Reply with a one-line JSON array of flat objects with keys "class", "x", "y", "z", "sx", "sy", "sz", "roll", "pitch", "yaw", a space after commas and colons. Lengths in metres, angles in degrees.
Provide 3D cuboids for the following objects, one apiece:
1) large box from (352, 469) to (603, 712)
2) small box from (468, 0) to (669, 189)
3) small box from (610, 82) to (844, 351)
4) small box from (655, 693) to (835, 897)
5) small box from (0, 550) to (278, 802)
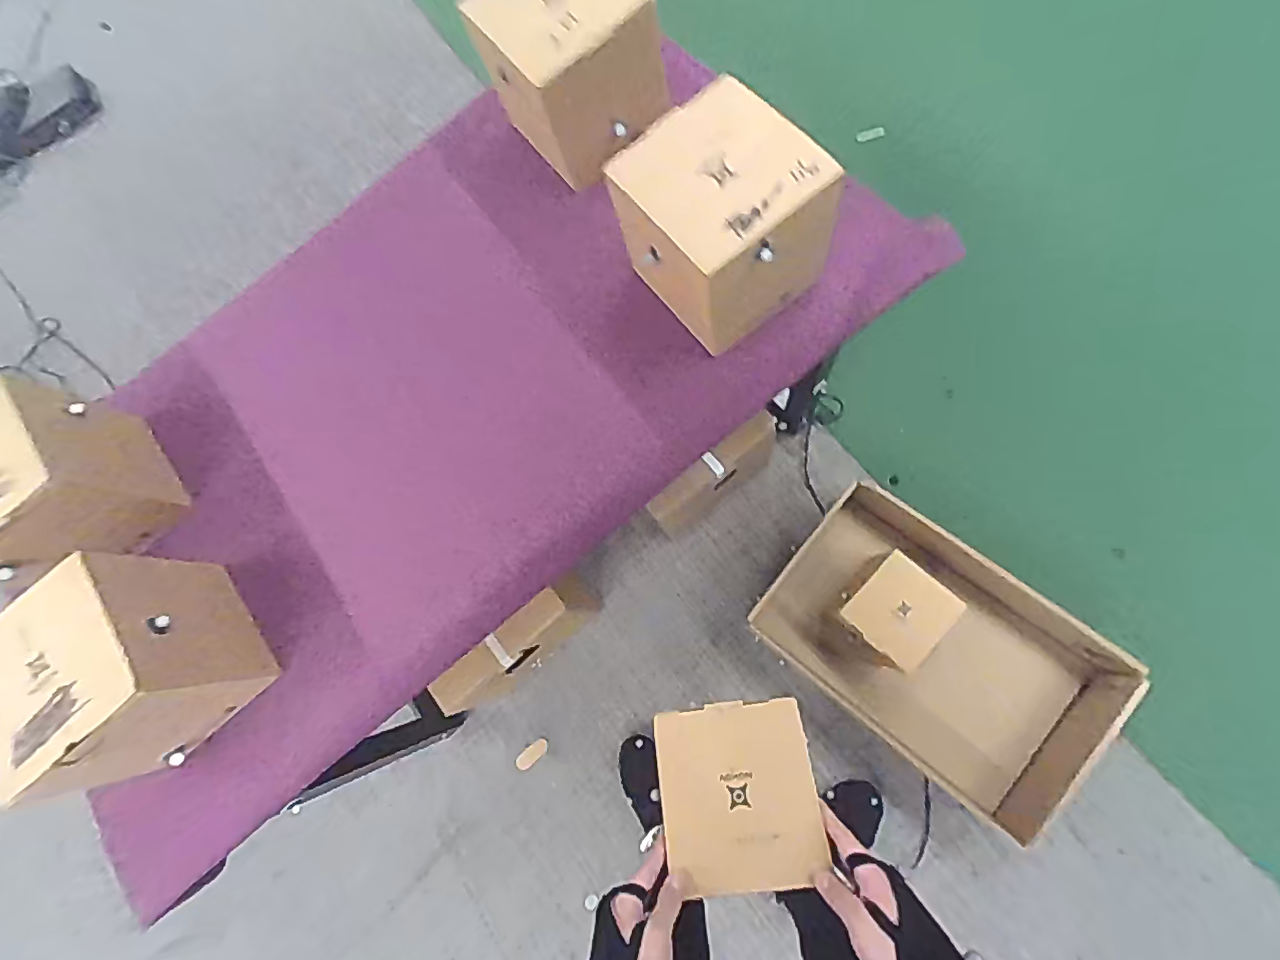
[{"class": "large box", "x": -0.351, "y": 0.249, "z": 1.244, "sx": 0.320, "sy": 0.320, "sz": 0.408, "roll": -41, "pitch": 72, "yaw": -3}, {"class": "small box", "x": -0.082, "y": -0.526, "z": 0.700, "sx": 0.168, "sy": 0.176, "sz": 0.179, "roll": -38, "pitch": 74, "yaw": 1}, {"class": "small box", "x": 0.095, "y": -0.282, "z": 0.609, "sx": 0.168, "sy": 0.176, "sz": 0.179, "roll": -38, "pitch": 71, "yaw": 0}, {"class": "small box", "x": 0.110, "y": 0.363, "z": 0.636, "sx": 0.168, "sy": 0.176, "sz": 0.179, "roll": -8, "pitch": 61, "yaw": 3}, {"class": "small box", "x": -0.553, "y": 0.202, "z": 0.597, "sx": 0.168, "sy": 0.176, "sz": 0.179, "roll": -41, "pitch": 72, "yaw": -3}]
